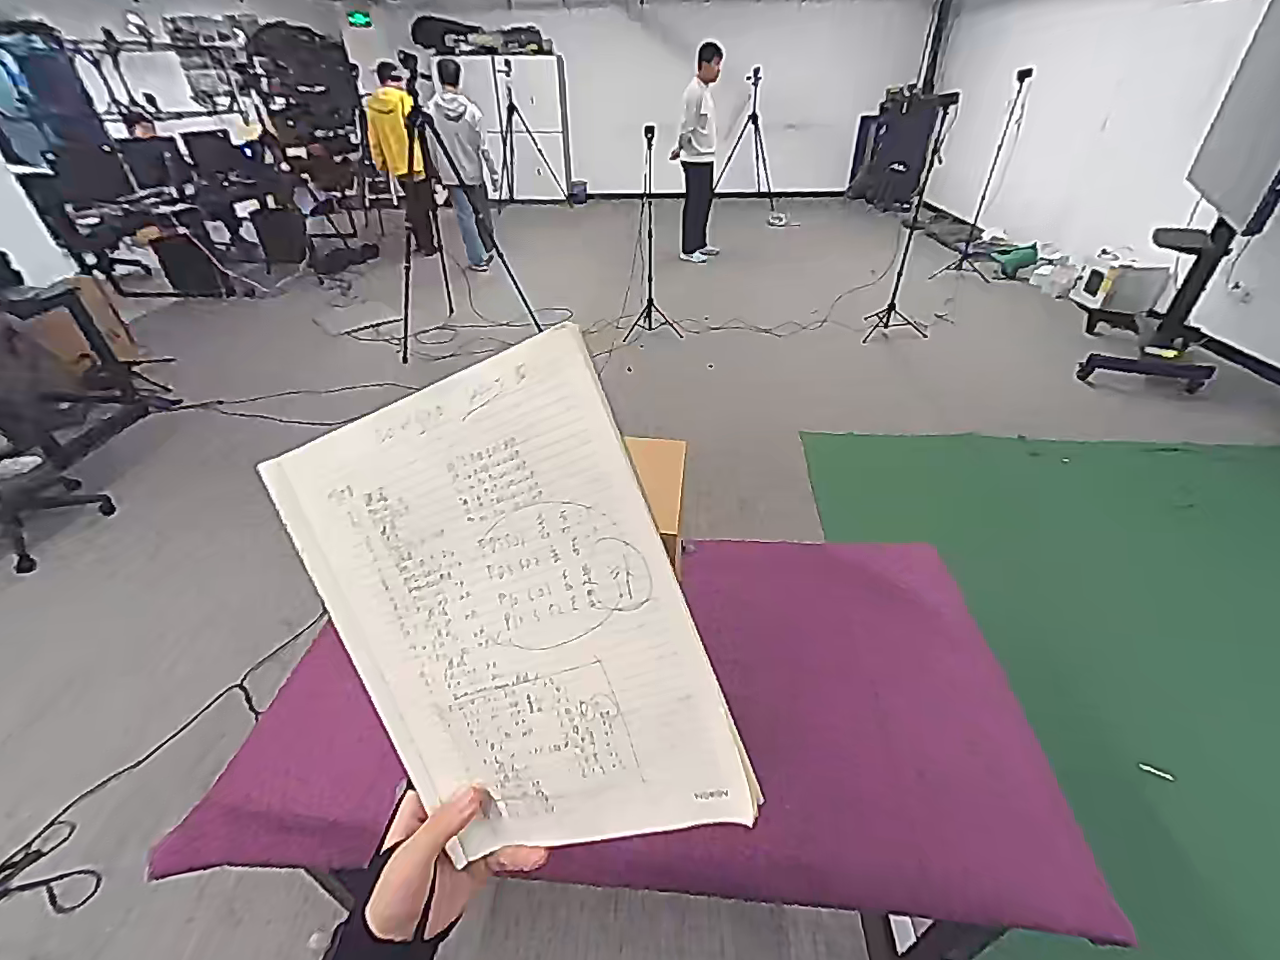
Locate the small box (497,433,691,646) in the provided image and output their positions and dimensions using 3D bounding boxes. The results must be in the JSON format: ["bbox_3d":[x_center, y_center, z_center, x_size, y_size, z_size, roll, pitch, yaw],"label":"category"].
[{"bbox_3d":[-0.038,0.065,0.608,0.179,0.176,0.168,3,34,6],"label":"small box"}]

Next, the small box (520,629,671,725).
[{"bbox_3d":[-0.044,0.196,0.709,0.168,0.176,0.179,2,35,5],"label":"small box"}]
